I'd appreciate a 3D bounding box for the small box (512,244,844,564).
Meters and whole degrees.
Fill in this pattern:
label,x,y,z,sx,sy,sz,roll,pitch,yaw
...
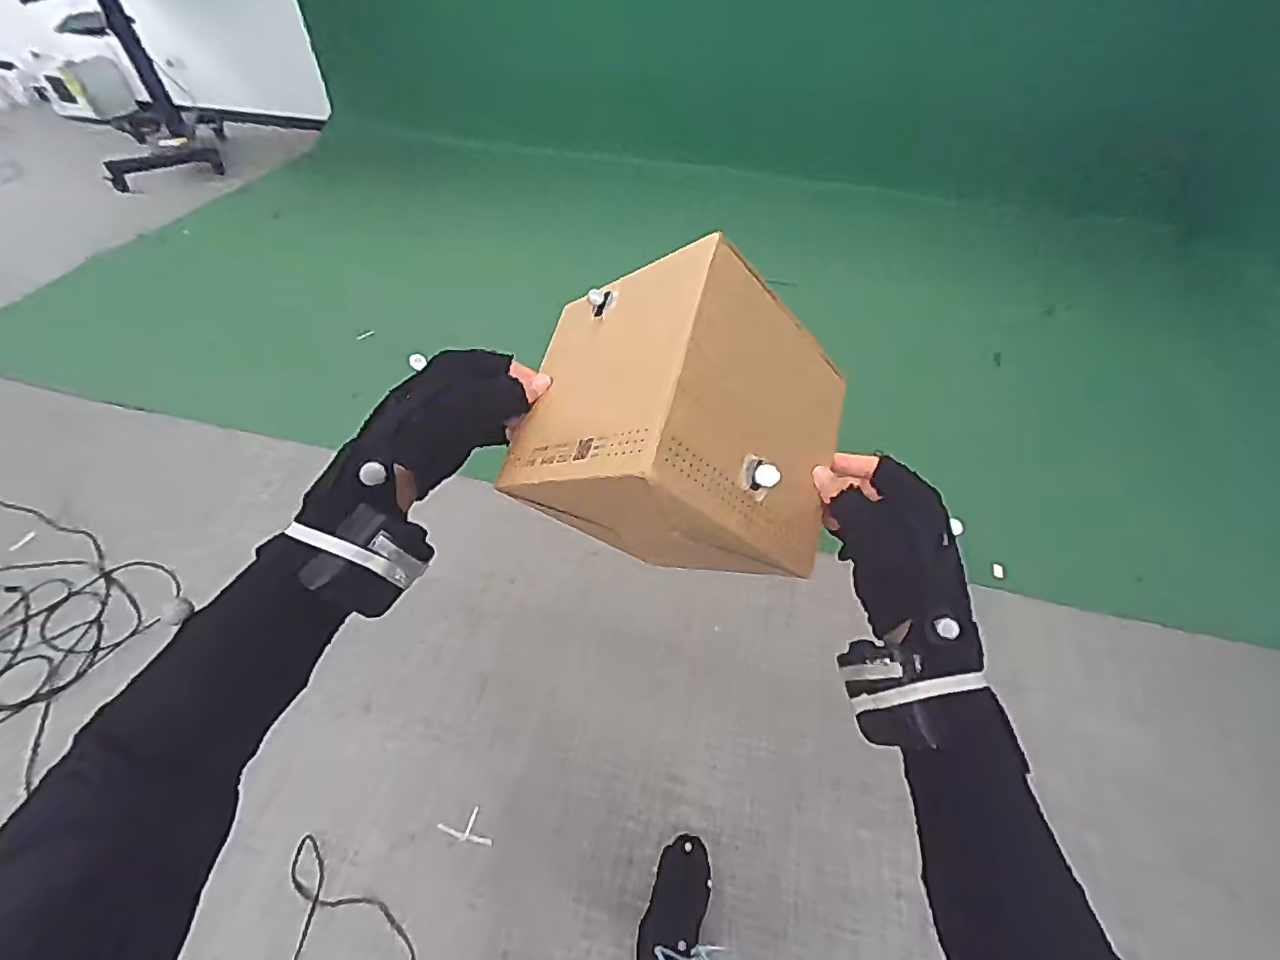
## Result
label,x,y,z,sx,sy,sz,roll,pitch,yaw
small box,0.031,-0.036,0.426,0.168,0.179,0.176,-5,61,48
